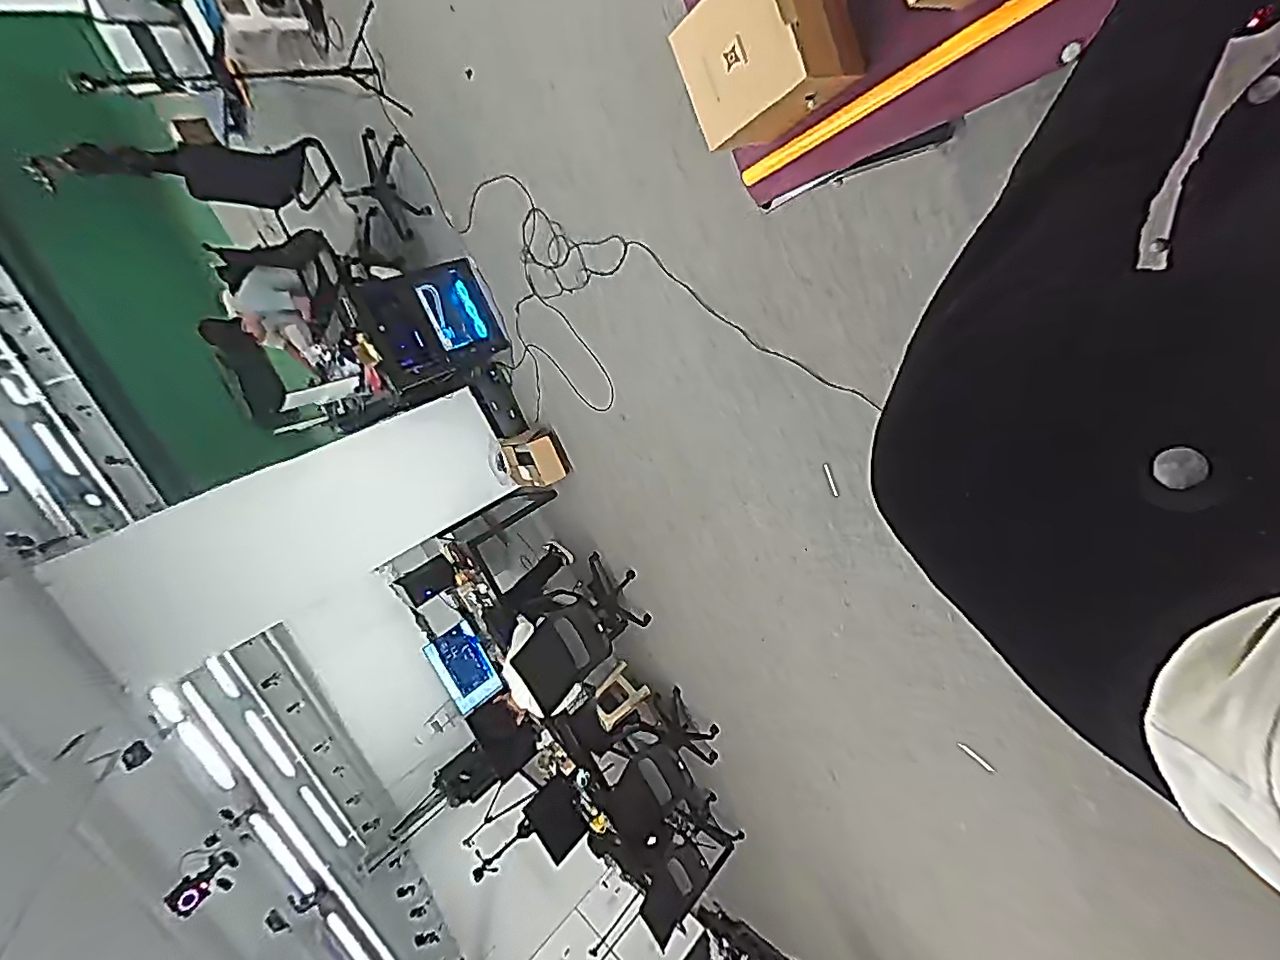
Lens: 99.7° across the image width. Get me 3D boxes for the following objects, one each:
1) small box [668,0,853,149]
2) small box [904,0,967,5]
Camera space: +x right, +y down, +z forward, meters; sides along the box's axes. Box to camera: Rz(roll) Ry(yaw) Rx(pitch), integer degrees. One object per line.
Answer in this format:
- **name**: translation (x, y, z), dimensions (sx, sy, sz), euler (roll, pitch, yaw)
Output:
- **small box**: translation (0.178, -0.608, 0.768), dimensions (0.179, 0.176, 0.168), euler (-7, 112, 52)
- **small box**: translation (0.356, -0.620, 0.532), dimensions (0.179, 0.176, 0.168), euler (-7, 112, 53)
